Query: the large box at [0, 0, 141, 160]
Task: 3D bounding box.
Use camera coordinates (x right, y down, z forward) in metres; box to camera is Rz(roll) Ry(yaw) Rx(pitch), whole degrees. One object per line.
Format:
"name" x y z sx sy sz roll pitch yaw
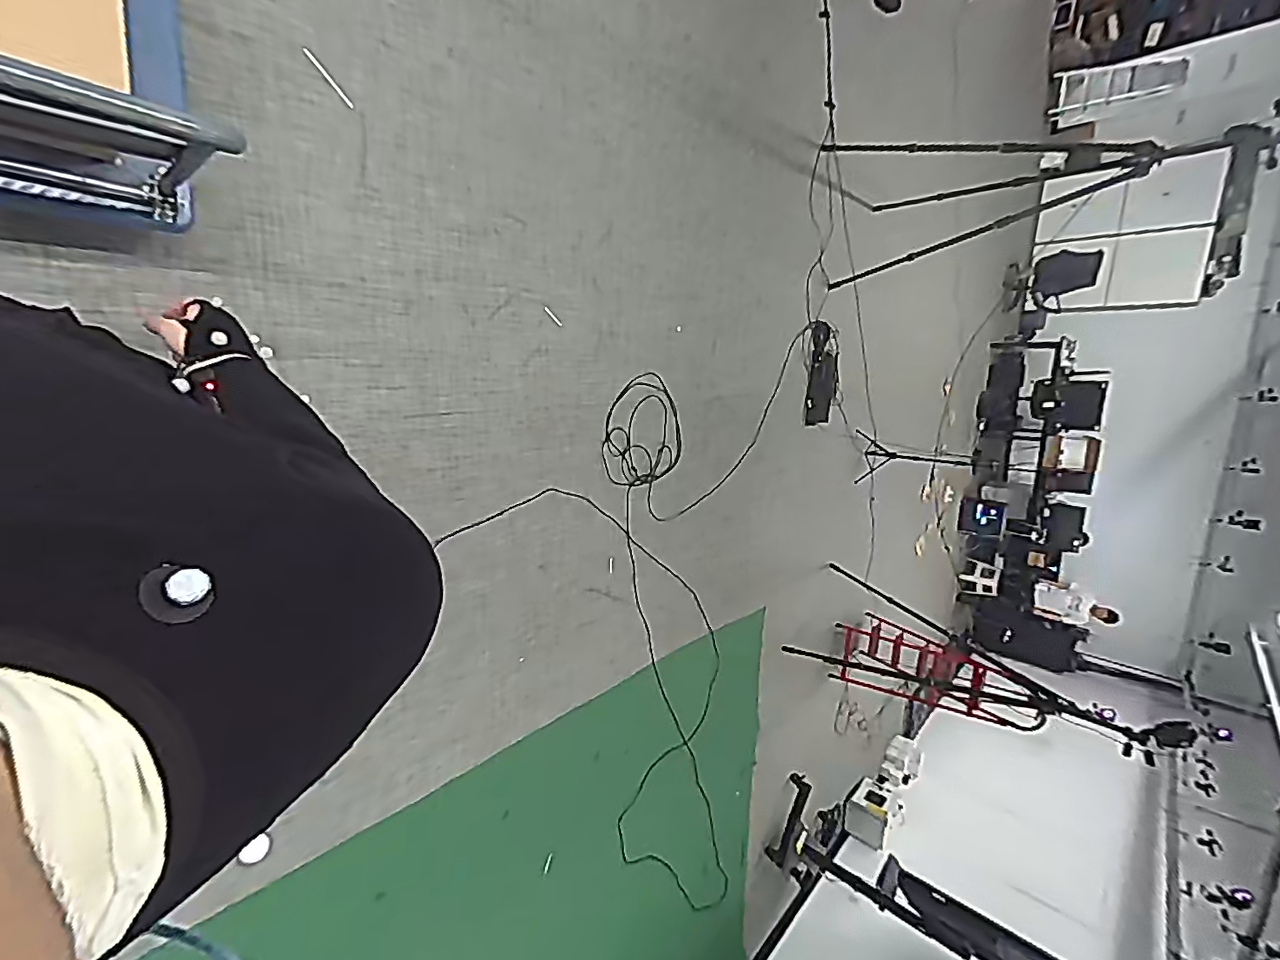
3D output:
"large box" -0.962 -0.756 0.777 0.320 0.320 0.408 -7 103 -46
